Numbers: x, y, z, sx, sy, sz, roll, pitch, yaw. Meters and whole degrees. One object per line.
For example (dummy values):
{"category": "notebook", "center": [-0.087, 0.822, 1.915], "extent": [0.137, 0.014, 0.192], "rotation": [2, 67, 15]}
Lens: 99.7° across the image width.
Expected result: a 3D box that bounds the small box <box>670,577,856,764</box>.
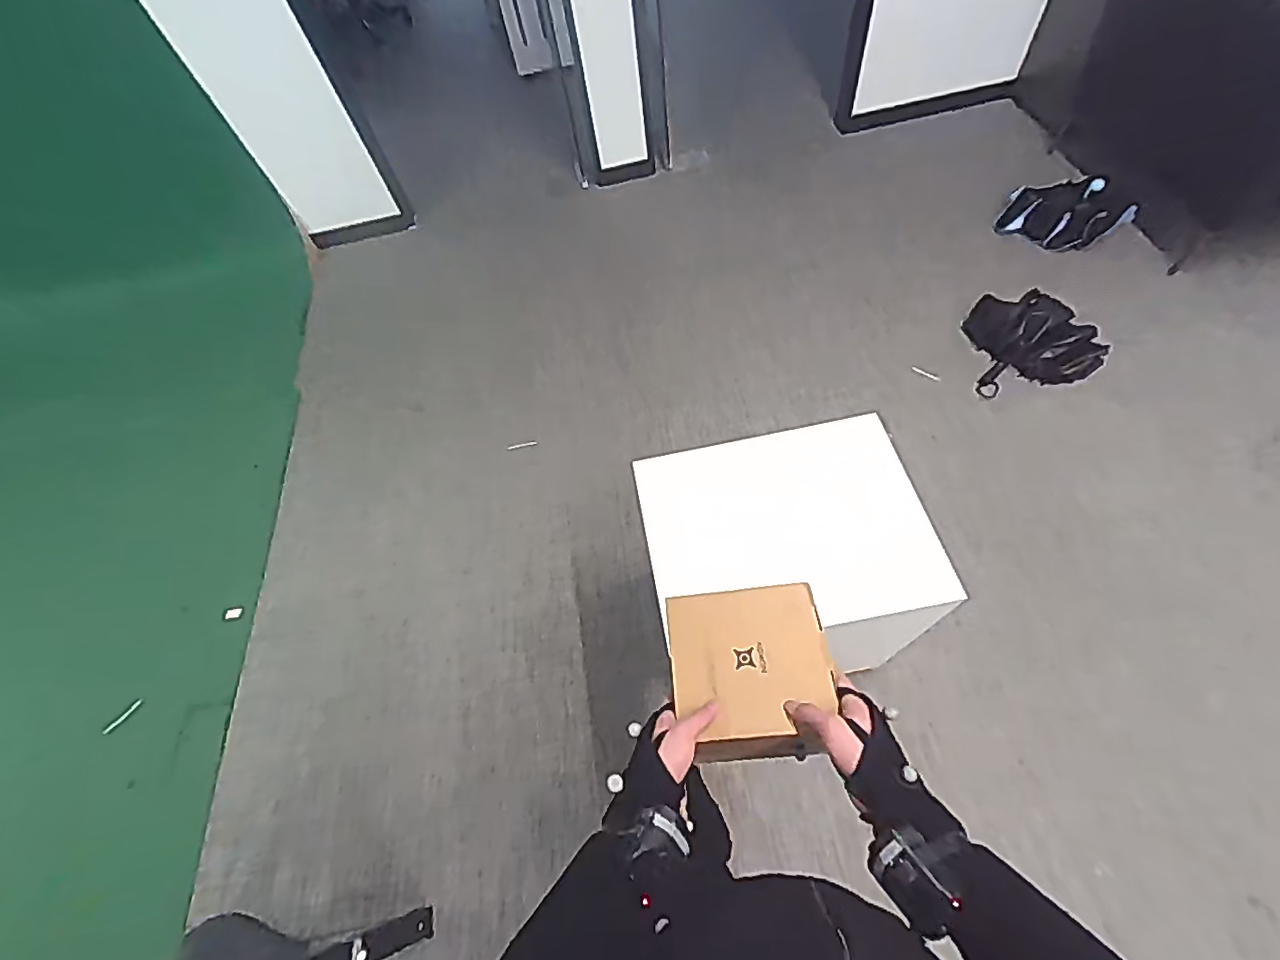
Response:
{"category": "small box", "center": [0.135, 0.234, 0.653], "extent": [0.179, 0.176, 0.168], "rotation": [-8, 53, 4]}
